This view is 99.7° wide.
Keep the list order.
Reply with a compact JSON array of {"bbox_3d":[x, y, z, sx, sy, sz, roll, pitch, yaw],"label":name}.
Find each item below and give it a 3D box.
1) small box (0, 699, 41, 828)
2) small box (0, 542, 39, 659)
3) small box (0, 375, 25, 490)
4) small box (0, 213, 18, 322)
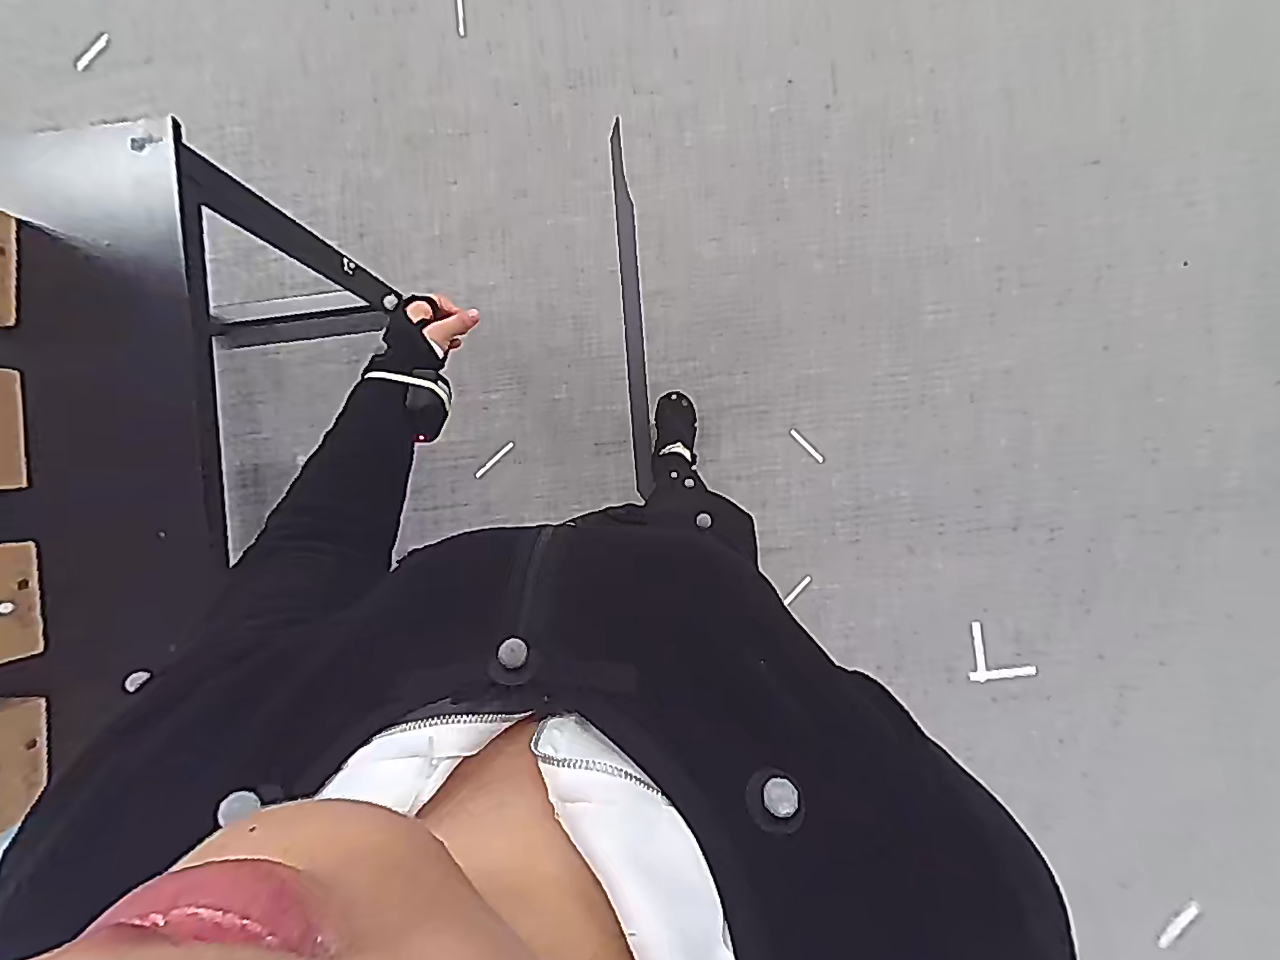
[{"bbox_3d":[-0.961,0.401,0.715,0.179,0.176,0.168,-2,88,3],"label":"small box"},{"bbox_3d":[-0.975,0.177,0.717,0.179,0.176,0.168,-5,89,2],"label":"small box"},{"bbox_3d":[-0.996,-0.071,0.722,0.168,0.176,0.179,-5,90,4],"label":"small box"},{"bbox_3d":[-1.014,-0.311,0.723,0.179,0.176,0.168,1,90,3],"label":"small box"}]
